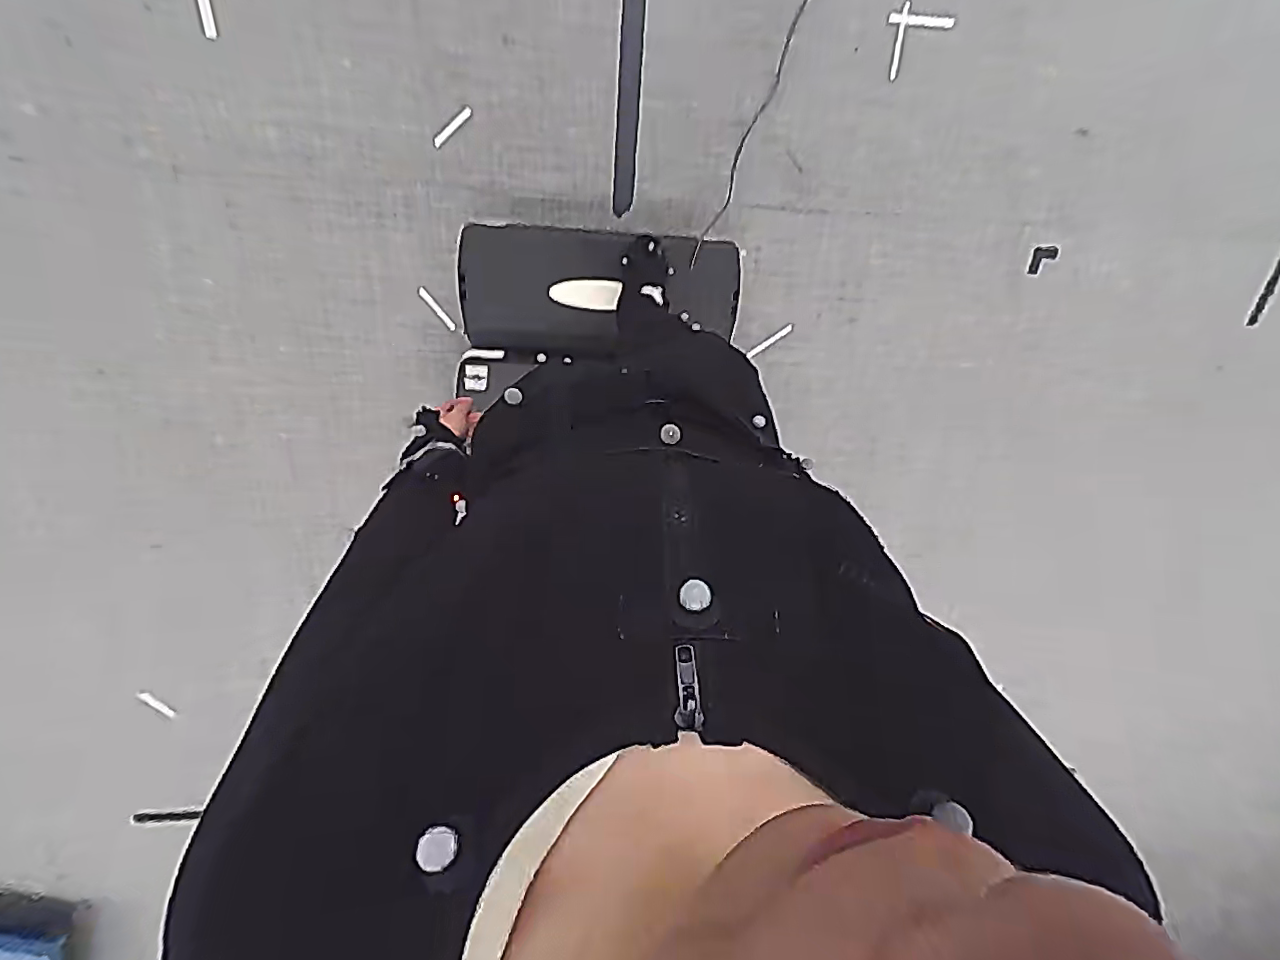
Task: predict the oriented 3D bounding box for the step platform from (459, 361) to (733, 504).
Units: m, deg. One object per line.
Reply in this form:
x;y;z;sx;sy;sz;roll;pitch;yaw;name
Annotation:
-0.107;-0.120;1.396;0.684;0.204;0.286;6;110;-7;step platform
